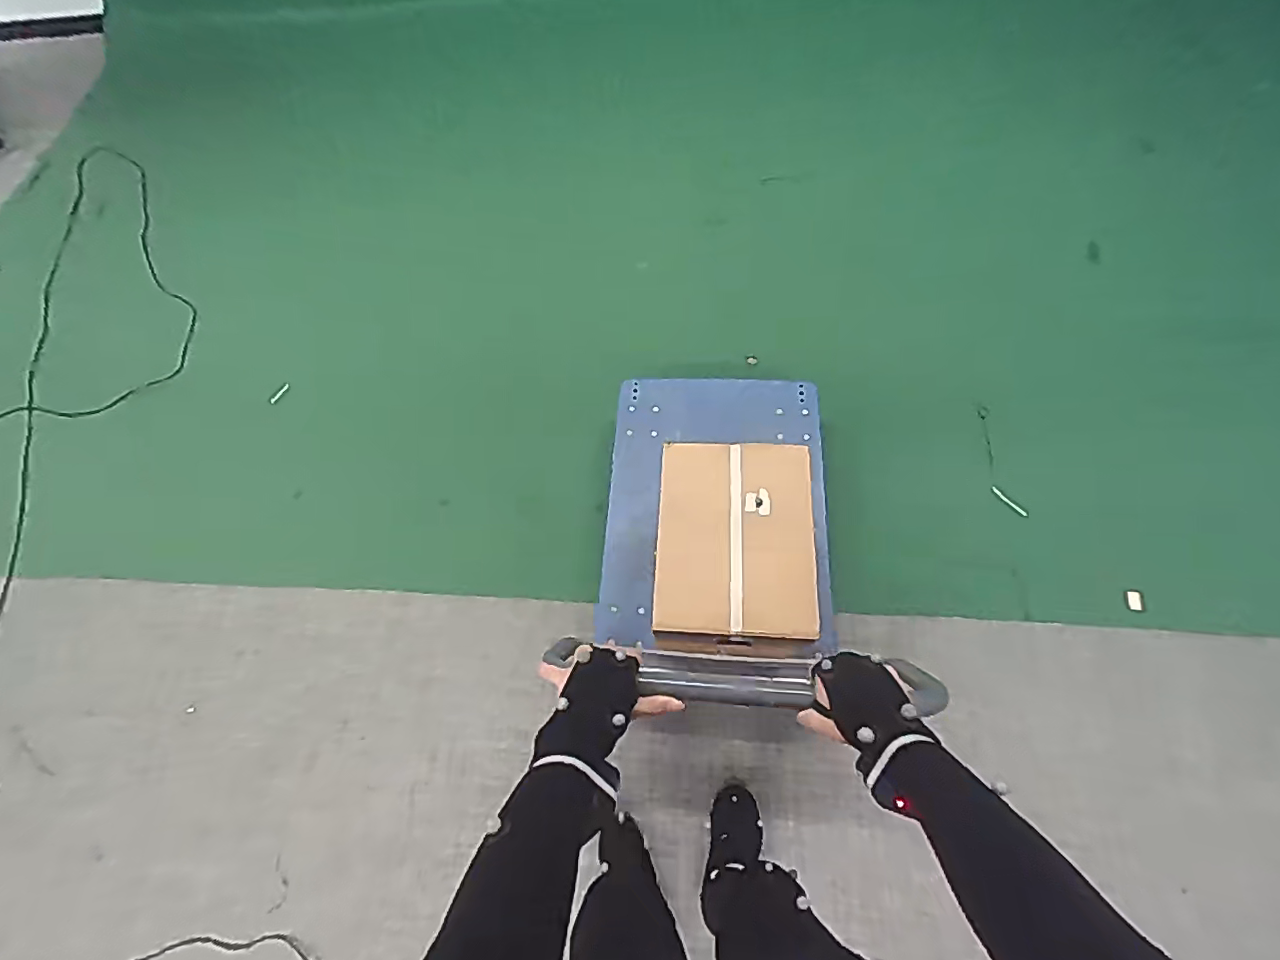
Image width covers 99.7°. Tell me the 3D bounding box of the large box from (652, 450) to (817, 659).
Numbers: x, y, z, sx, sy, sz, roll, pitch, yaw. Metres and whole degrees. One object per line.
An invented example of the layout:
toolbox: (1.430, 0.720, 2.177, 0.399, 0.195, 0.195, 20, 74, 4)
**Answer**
large box: (0.199, 0.180, 1.231, 0.320, 0.320, 0.408, 1, 65, 5)
